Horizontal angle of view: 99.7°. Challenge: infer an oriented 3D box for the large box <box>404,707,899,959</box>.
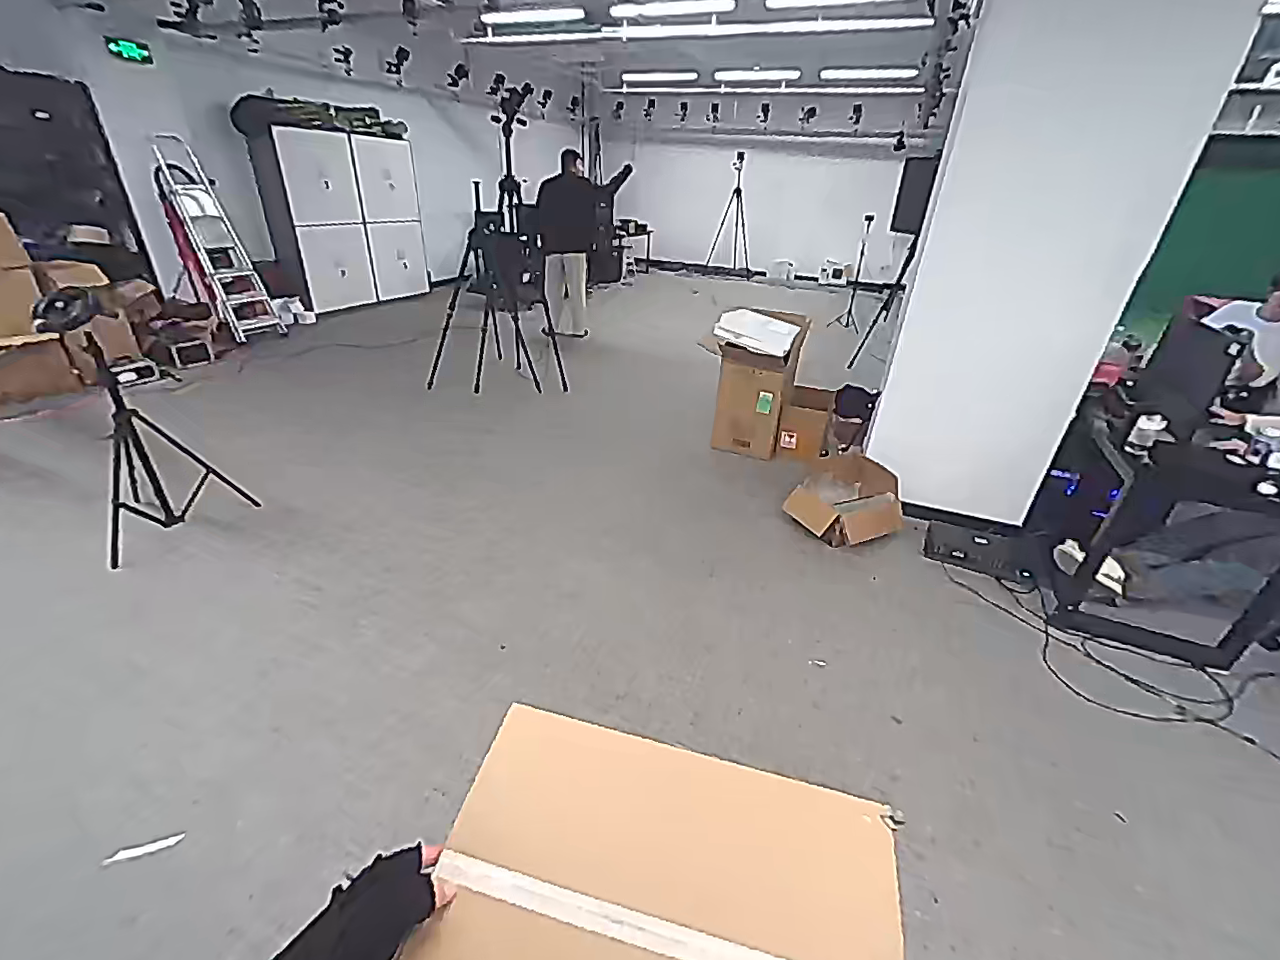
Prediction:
[{"bbox_3d":[0.008,0.495,0.554,0.408,0.320,0.320,12,40,9],"label":"large box"}]
